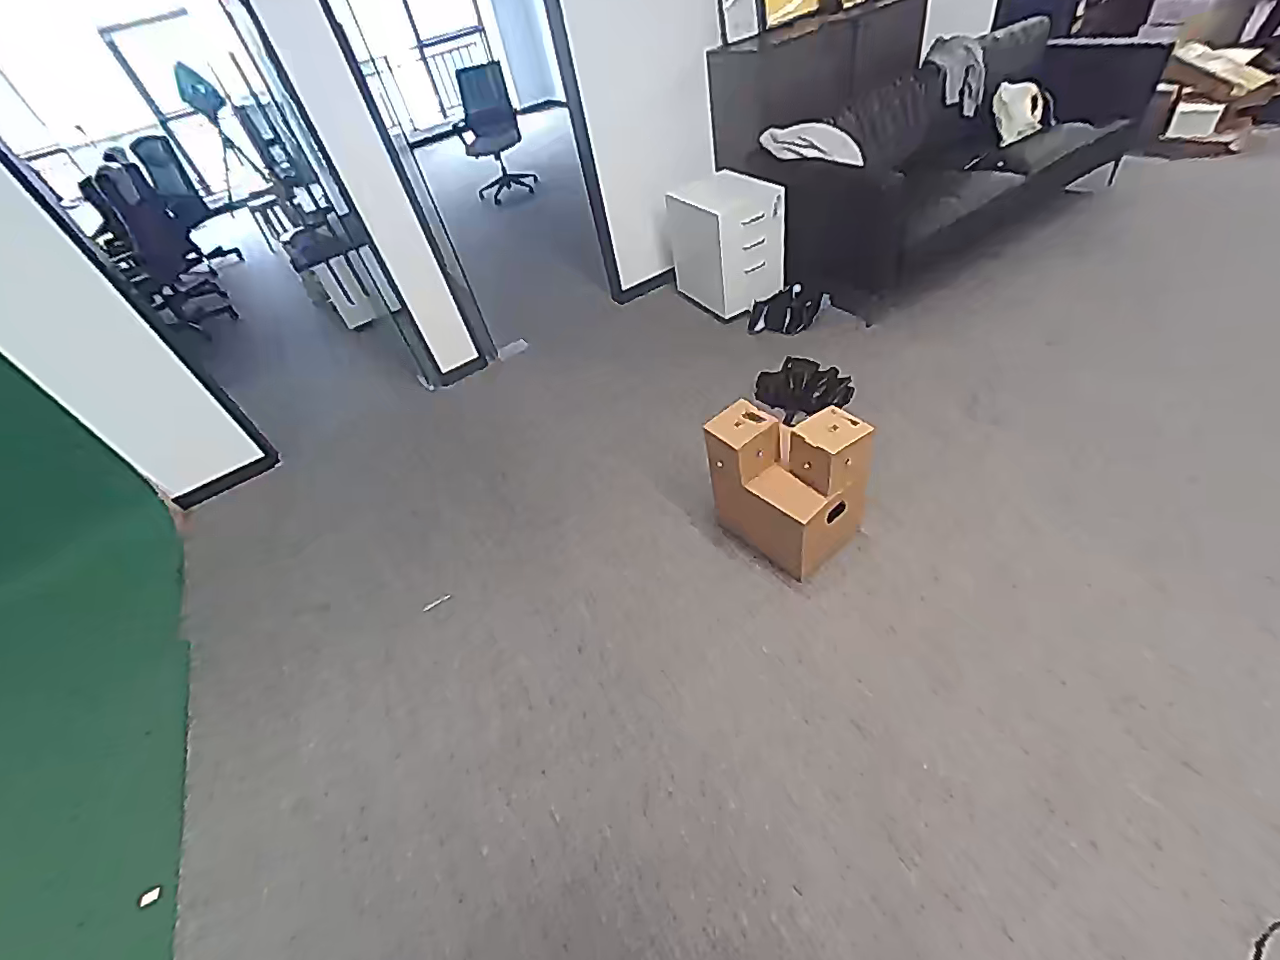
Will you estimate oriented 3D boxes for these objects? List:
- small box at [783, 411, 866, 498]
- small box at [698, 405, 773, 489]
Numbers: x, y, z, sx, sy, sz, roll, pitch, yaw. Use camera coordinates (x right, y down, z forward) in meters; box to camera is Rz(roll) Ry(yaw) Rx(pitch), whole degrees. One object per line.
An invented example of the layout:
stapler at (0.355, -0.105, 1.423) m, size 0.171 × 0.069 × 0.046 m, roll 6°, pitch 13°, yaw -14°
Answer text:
small box at (0.558, -0.074, 1.647) m, size 0.179 × 0.176 × 0.168 m, roll -29°, pitch 45°, yaw -19°
small box at (0.309, -0.106, 1.740) m, size 0.179 × 0.176 × 0.168 m, roll -34°, pitch 47°, yaw -17°
